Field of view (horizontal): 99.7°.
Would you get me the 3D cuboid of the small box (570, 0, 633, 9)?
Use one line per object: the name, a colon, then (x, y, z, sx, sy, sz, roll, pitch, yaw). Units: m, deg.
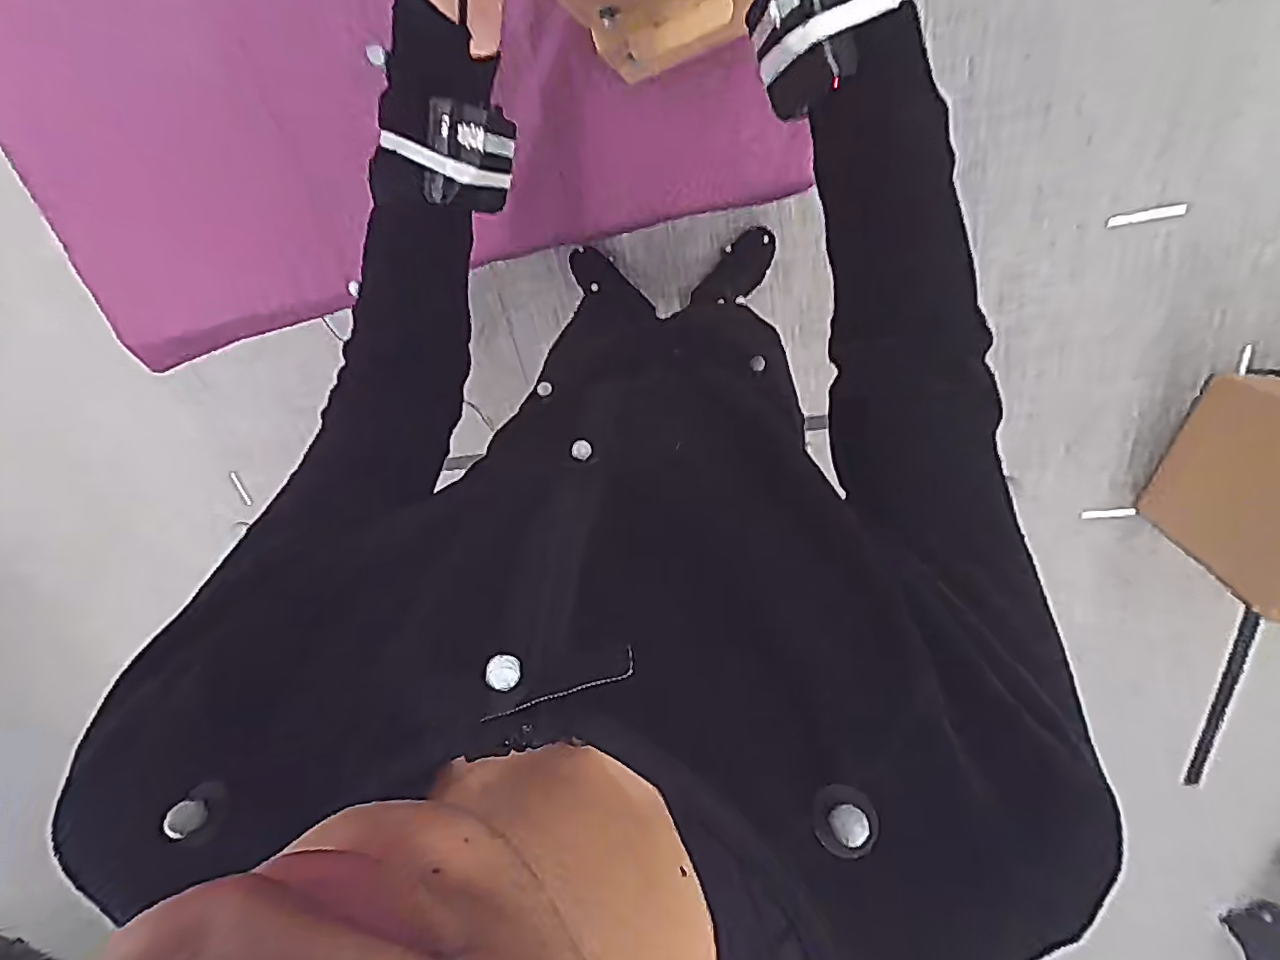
small box: (-0.008, -0.481, 0.391, 0.168, 0.176, 0.179, -4, 115, 13)
